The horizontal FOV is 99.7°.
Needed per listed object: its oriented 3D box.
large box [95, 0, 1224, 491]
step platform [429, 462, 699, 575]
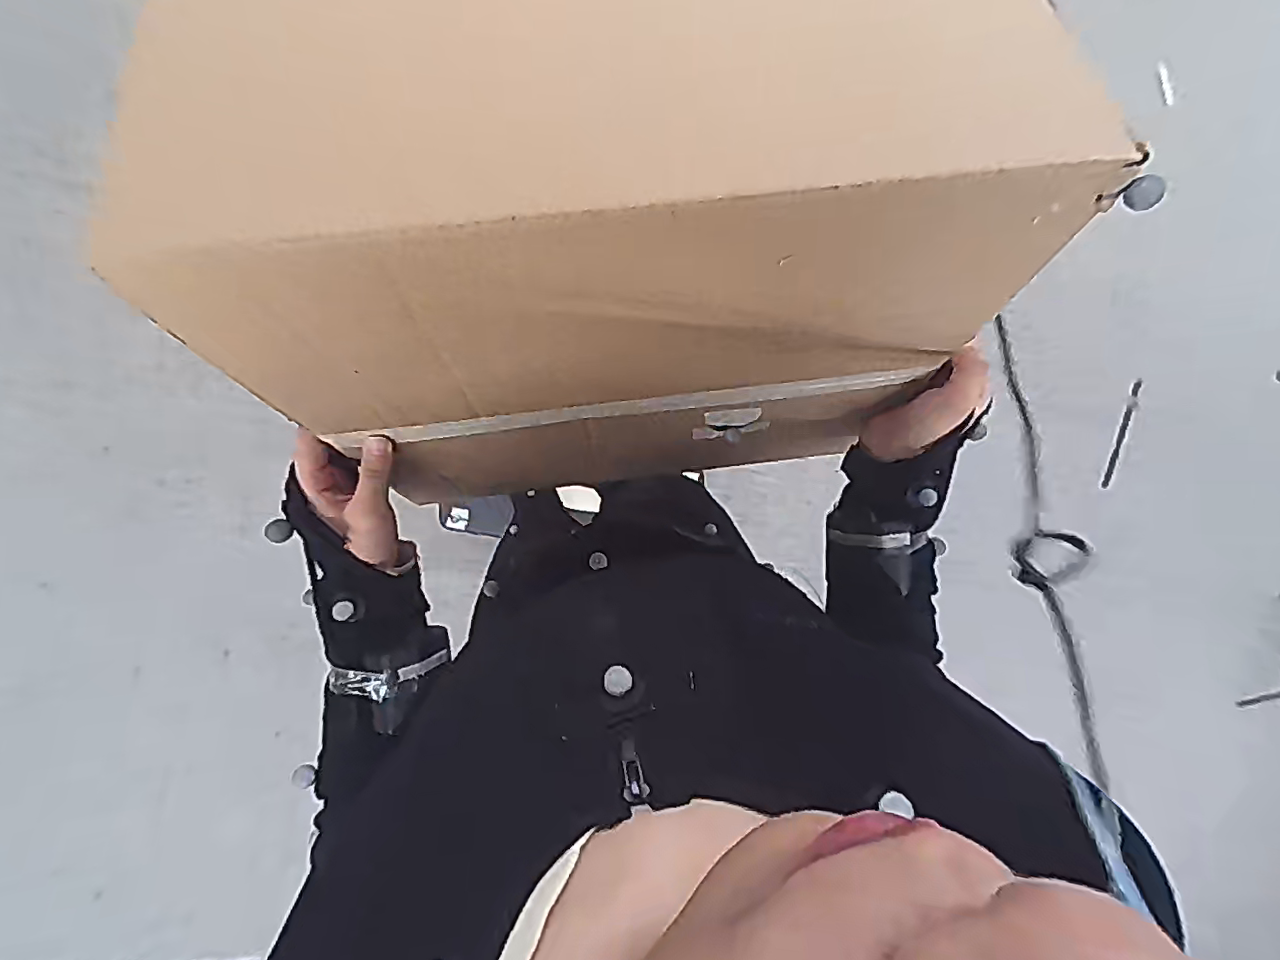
[{"bbox_3d":[-0.009,-0.206,0.373,0.408,0.320,0.320,-7,72,-3],"label":"large box"},{"bbox_3d":[-0.189,0.036,1.432,0.684,0.204,0.286,16,95,-13],"label":"step platform"}]
